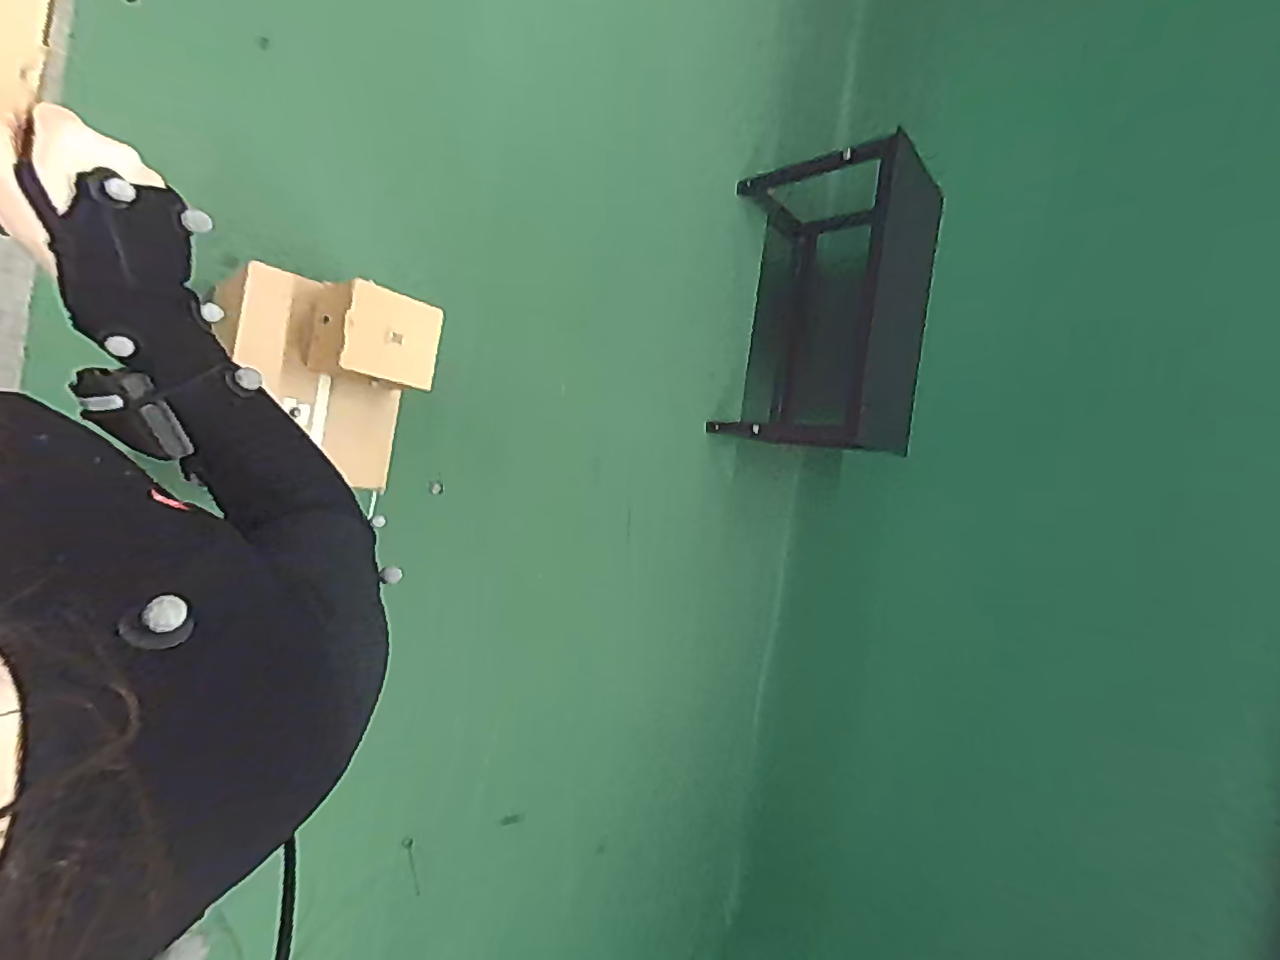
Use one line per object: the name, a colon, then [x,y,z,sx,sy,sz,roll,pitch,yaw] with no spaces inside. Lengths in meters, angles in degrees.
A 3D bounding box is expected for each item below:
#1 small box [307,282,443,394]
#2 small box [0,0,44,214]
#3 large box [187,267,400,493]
small box: [-0.524,-0.273,1.071,0.179,0.176,0.168,10,89,-48]
small box: [-0.474,-0.264,0.299,0.179,0.176,0.168,9,95,-51]
large box: [-0.753,-0.199,1.194,0.320,0.320,0.408,10,89,-47]
